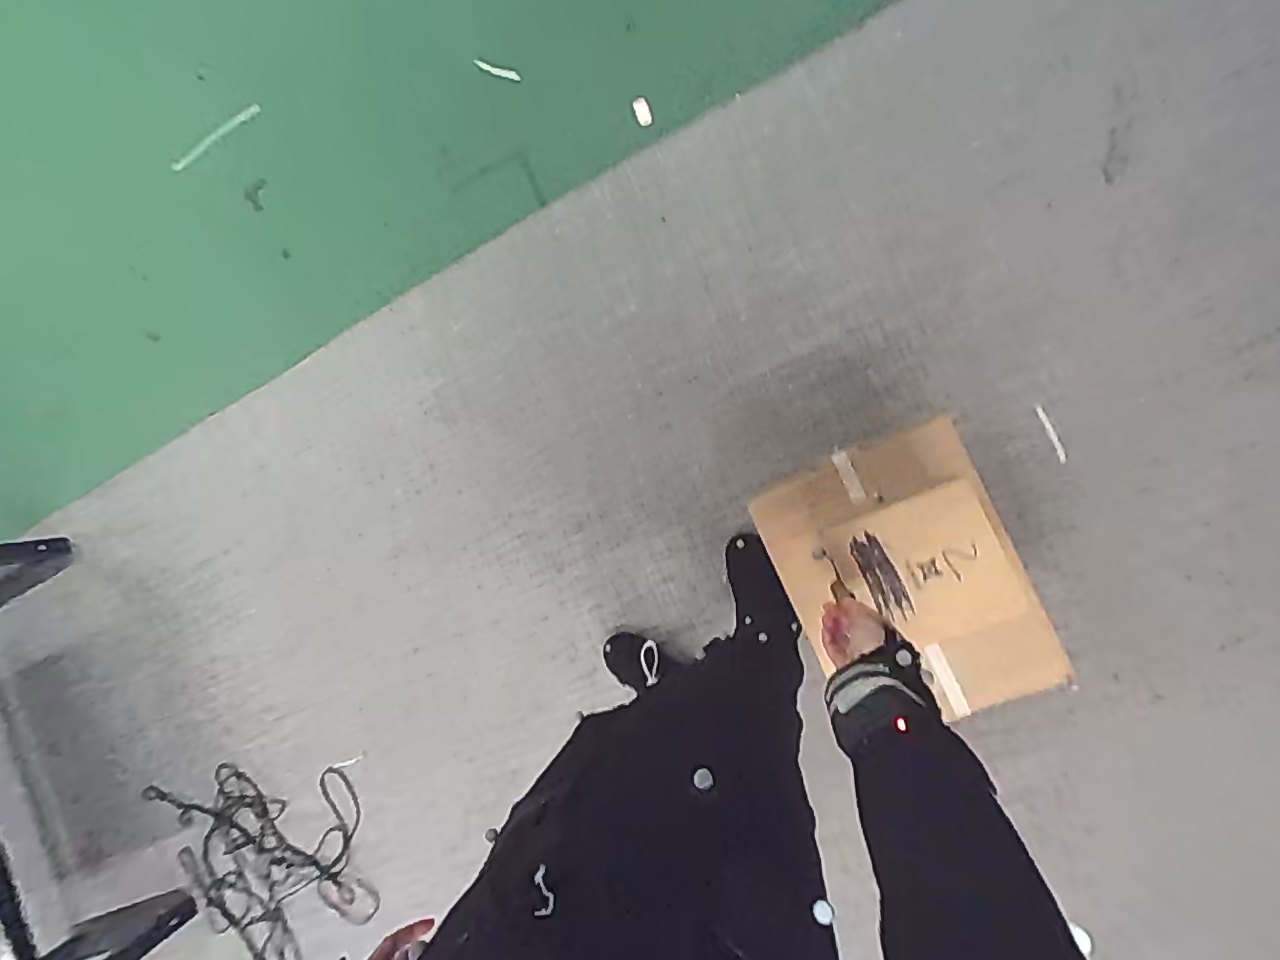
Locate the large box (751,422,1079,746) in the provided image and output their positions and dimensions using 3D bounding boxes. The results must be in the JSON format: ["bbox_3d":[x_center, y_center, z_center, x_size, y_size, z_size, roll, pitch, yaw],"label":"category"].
[{"bbox_3d":[0.419,0.151,0.929,0.320,0.320,0.408,-25,86,15],"label":"large box"}]
